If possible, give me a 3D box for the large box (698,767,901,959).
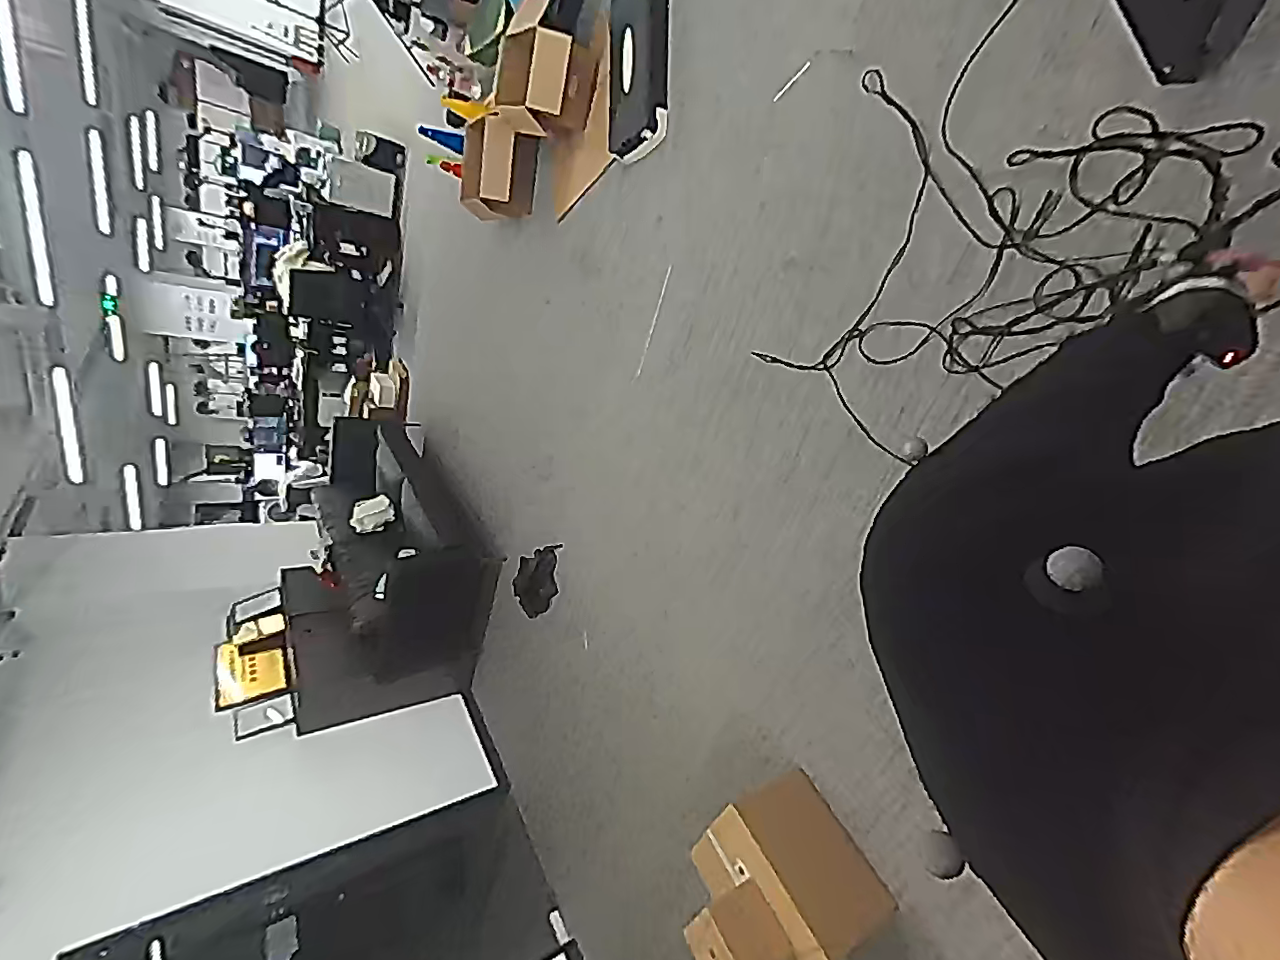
[{"bbox_3d":[0.444,1.136,1.560,0.408,0.320,0.320,52,130,41],"label":"large box"}]
